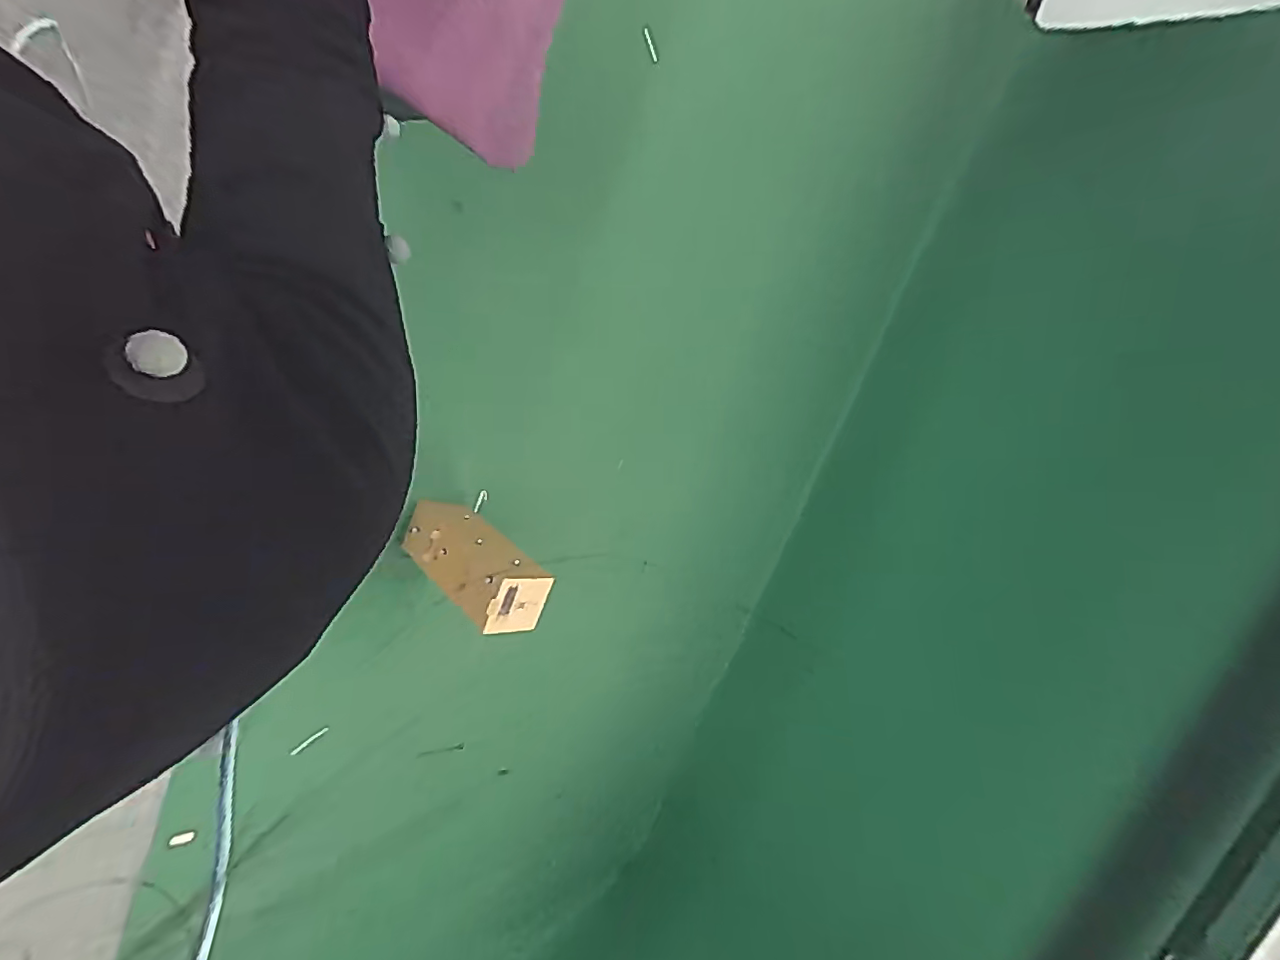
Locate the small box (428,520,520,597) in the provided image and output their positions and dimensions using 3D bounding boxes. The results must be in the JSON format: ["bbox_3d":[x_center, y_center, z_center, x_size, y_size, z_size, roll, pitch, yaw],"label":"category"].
[{"bbox_3d":[-0.492,0.229,1.598,0.179,0.176,0.168,12,104,-50],"label":"small box"}]

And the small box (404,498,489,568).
[{"bbox_3d":[-0.605,0.167,1.698,0.179,0.176,0.168,14,102,-51],"label":"small box"}]
